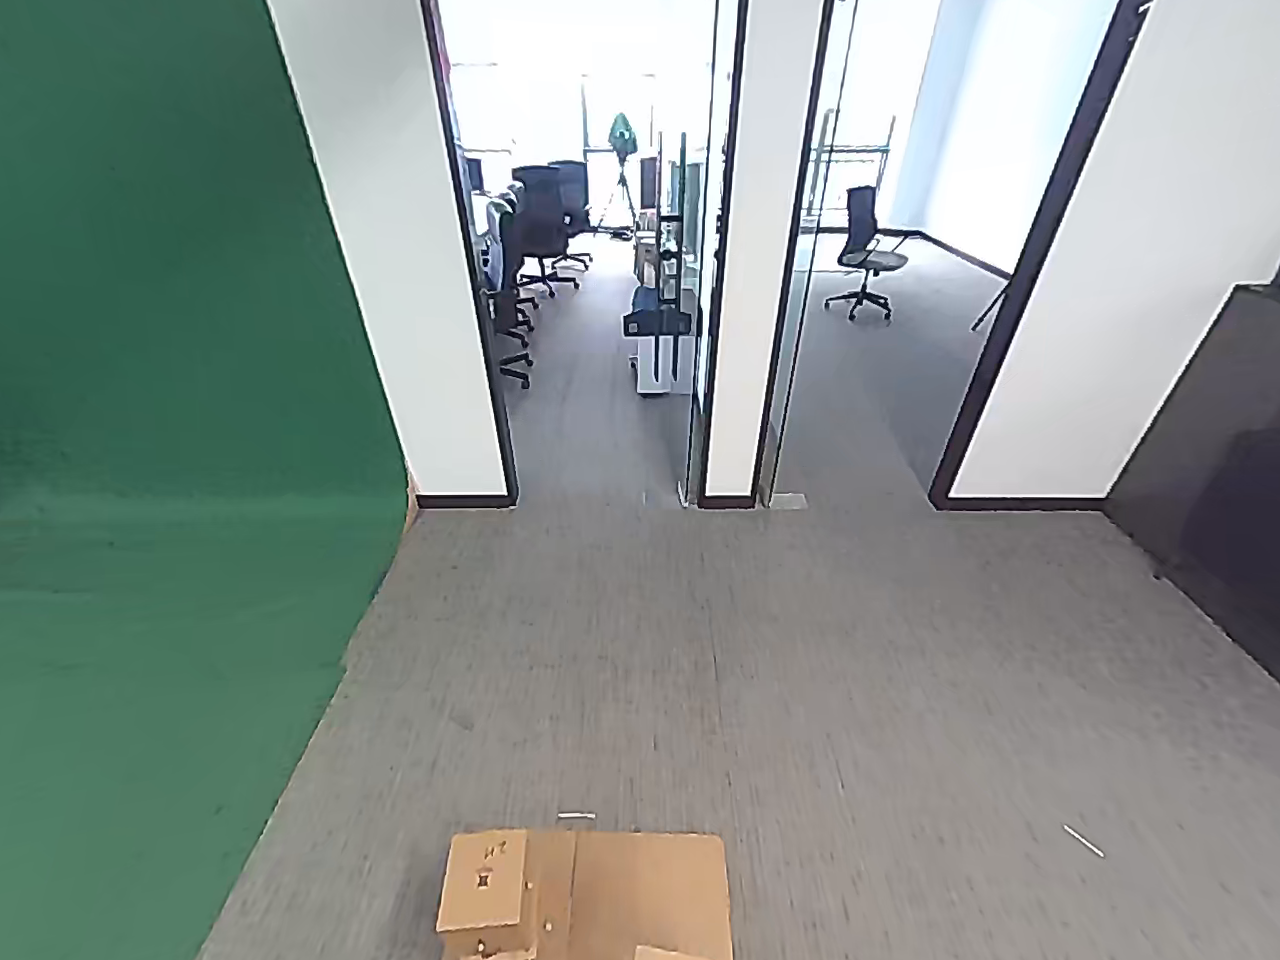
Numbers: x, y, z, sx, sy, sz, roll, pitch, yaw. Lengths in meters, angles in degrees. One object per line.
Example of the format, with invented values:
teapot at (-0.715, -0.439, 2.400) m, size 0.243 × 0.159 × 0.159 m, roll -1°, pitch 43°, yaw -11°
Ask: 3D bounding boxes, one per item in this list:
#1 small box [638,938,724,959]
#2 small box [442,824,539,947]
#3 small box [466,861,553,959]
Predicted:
small box at (0.067, 1.011, 1.012) m, size 0.168 × 0.176 × 0.179 m, roll 6°, pitch 34°, yaw 8°
small box at (-0.317, 0.891, 1.185) m, size 0.168 × 0.176 × 0.179 m, roll -1°, pitch 35°, yaw -4°
small box at (-0.297, 1.035, 1.268) m, size 0.168 × 0.176 × 0.179 m, roll -3°, pitch 35°, yaw -4°
